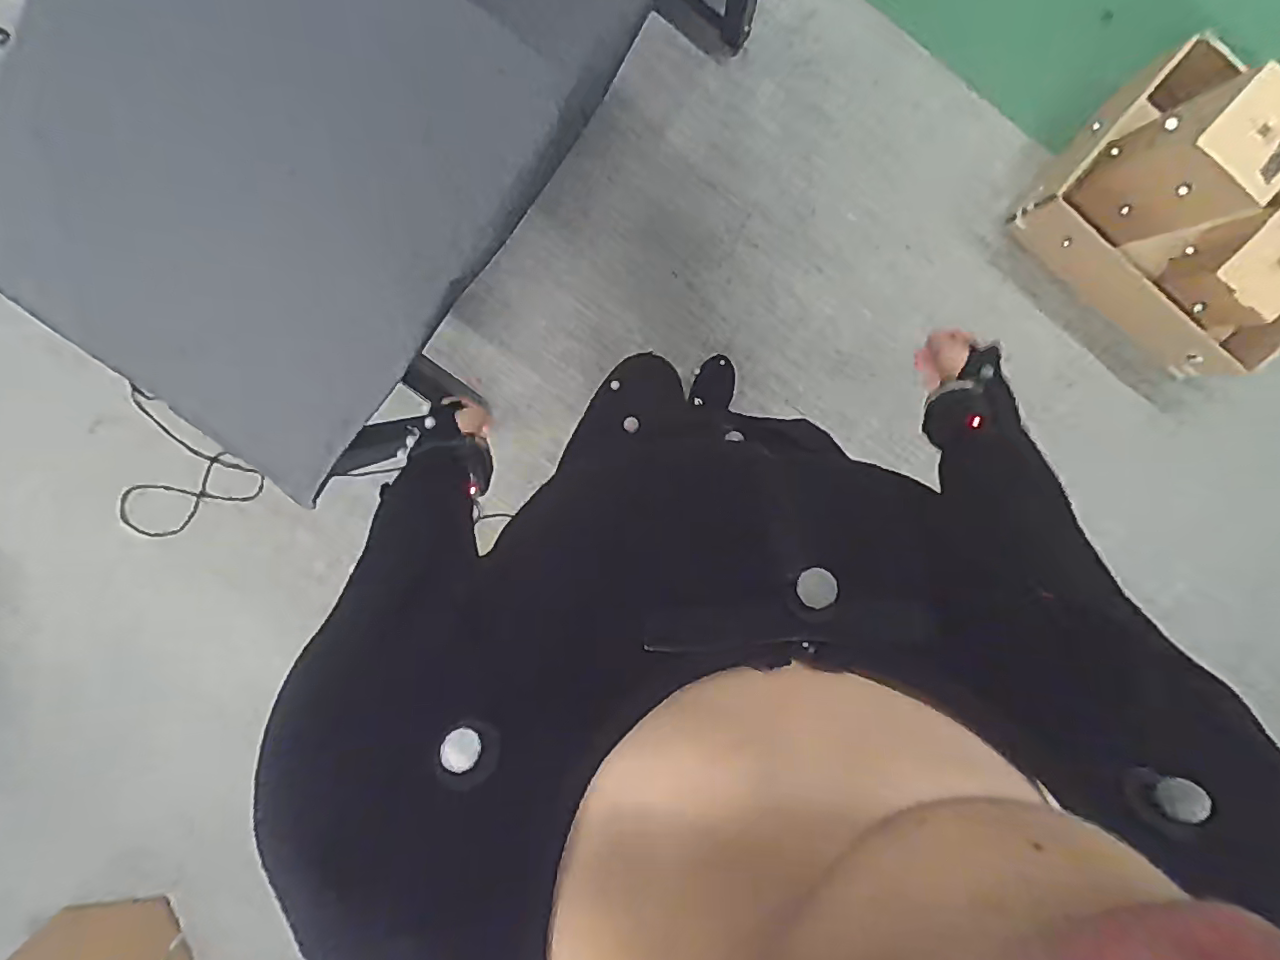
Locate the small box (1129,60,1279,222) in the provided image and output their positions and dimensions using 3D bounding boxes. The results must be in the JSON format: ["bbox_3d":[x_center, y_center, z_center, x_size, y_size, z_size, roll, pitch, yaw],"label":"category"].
[{"bbox_3d":[1.088,-0.607,1.000,0.179,0.176,0.168,38,101,-4],"label":"small box"}]

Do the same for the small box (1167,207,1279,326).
[{"bbox_3d":[1.328,-0.458,1.186,0.168,0.176,0.179,40,102,-4],"label":"small box"}]

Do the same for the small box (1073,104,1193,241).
[{"bbox_3d":[1.099,-0.643,1.160,0.179,0.176,0.168,37,102,-5],"label":"small box"}]
